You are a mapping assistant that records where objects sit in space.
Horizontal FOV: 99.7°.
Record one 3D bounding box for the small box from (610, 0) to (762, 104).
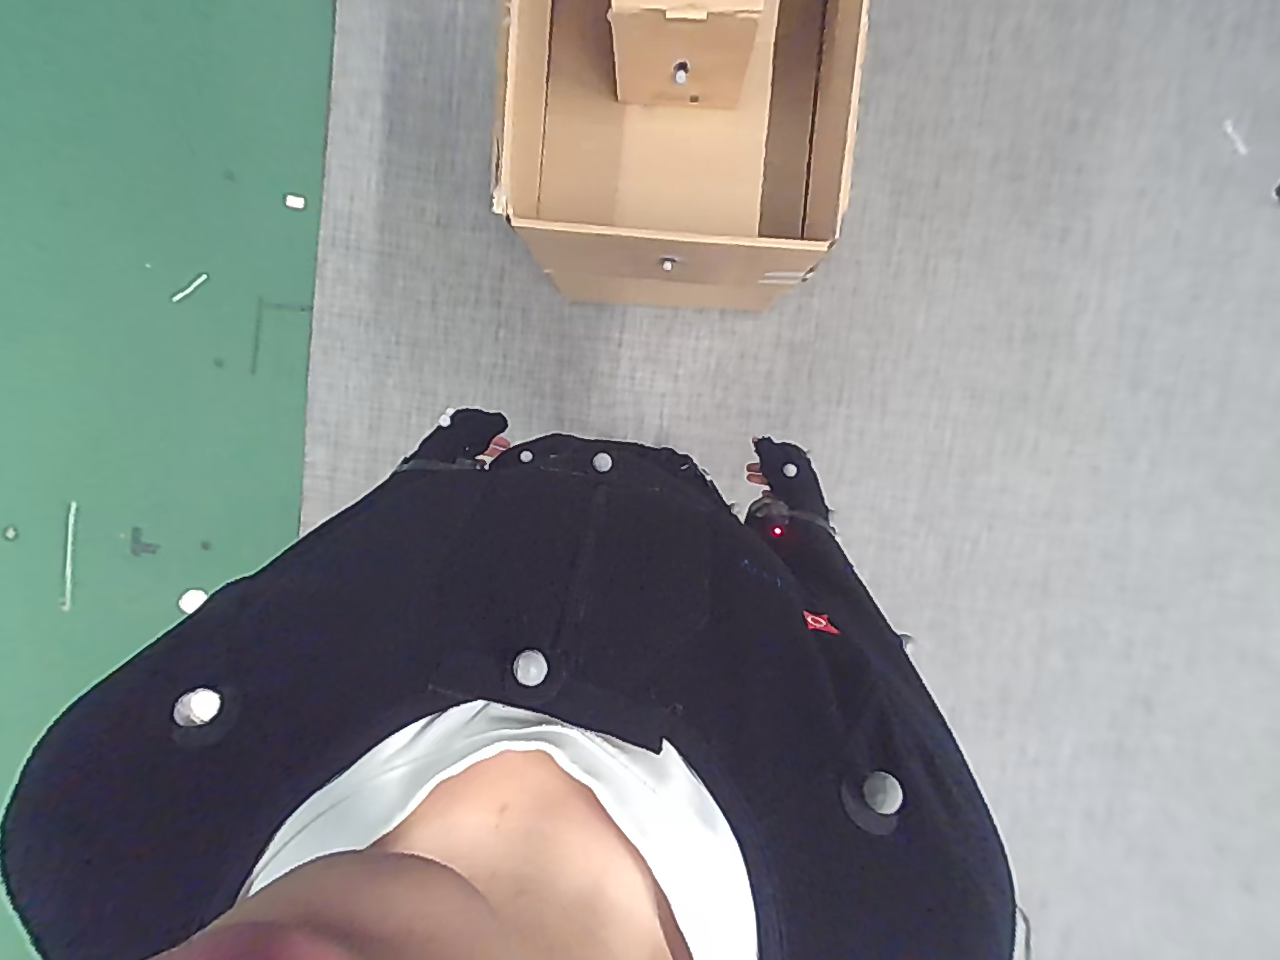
[{"bbox_3d":[0.058,-0.592,0.651,0.168,0.176,0.179,4,95,1],"label":"small box"}]
